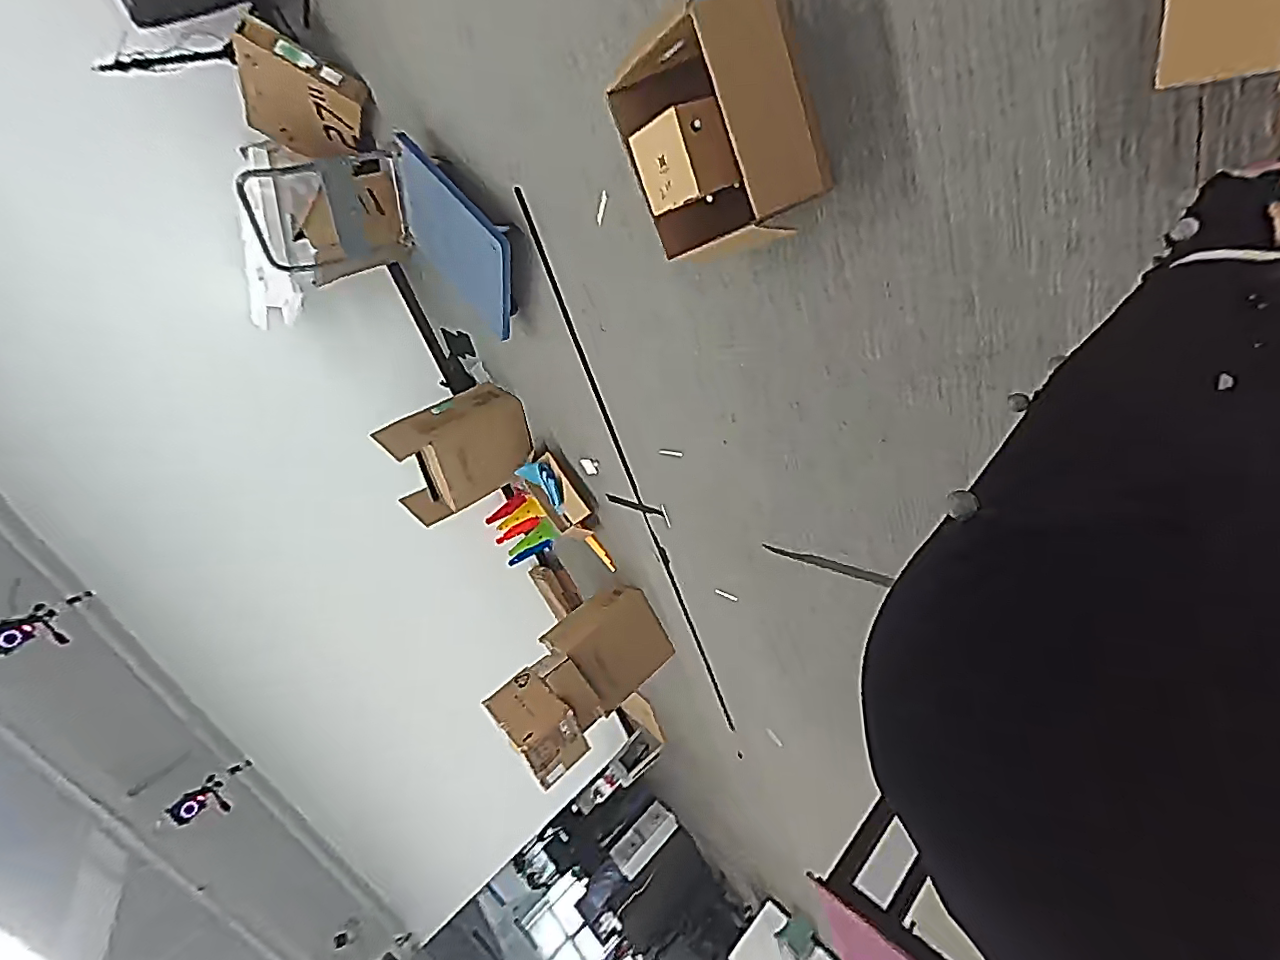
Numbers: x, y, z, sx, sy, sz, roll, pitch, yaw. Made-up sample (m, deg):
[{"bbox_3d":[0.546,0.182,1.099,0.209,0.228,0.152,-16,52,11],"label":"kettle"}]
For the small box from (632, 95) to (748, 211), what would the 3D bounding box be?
[{"bbox_3d":[0.117,-0.746,1.233,0.168,0.176,0.179,11,130,54],"label":"small box"}]
